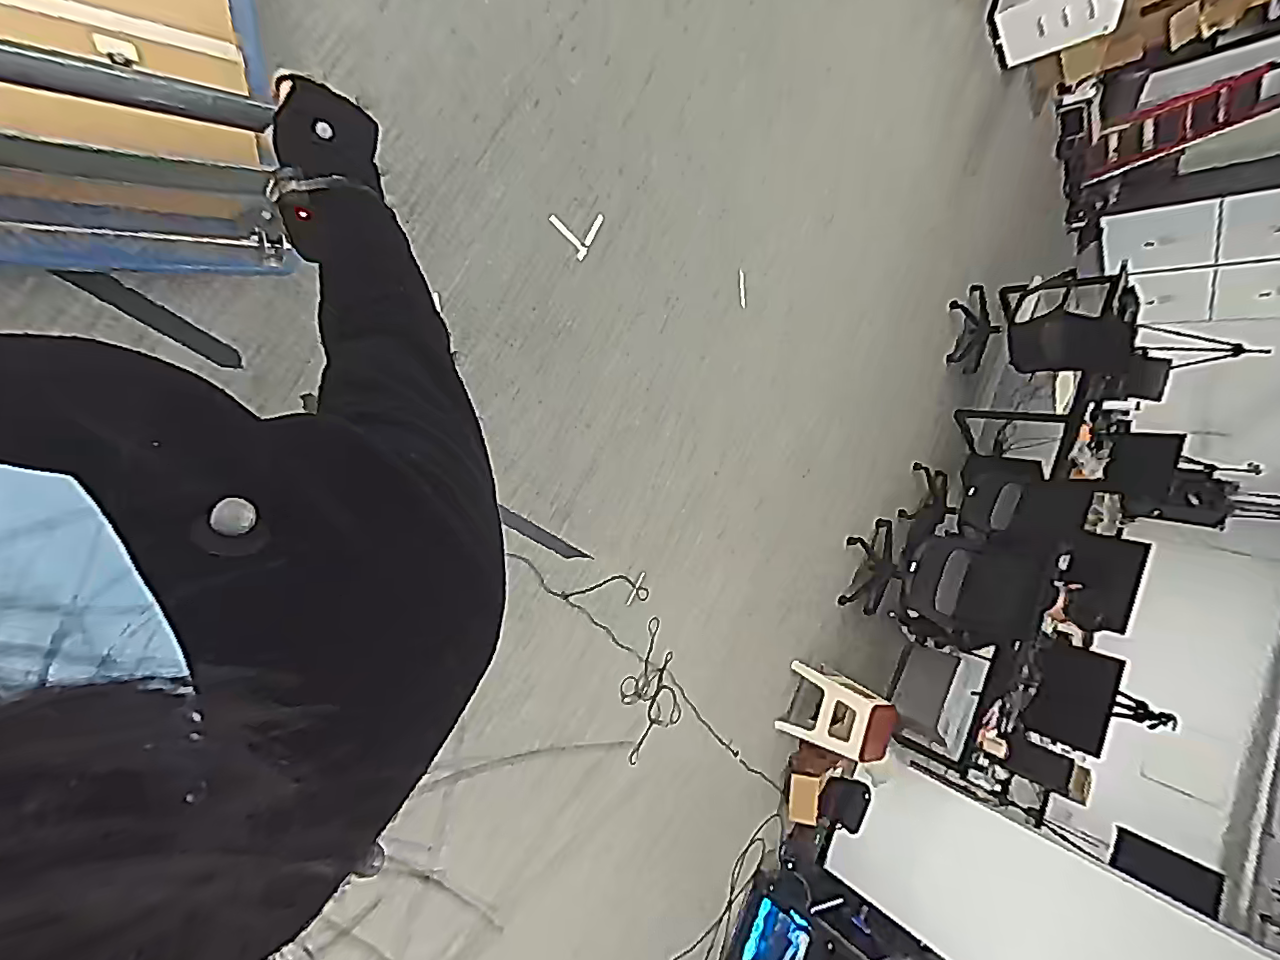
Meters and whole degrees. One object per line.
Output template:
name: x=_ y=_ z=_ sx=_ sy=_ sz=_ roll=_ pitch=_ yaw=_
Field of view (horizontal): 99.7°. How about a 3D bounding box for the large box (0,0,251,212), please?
large box: x=-0.836 y=-0.592 z=0.751 sx=0.408 sy=0.320 sz=0.320 roll=-14 pitch=109 yaw=-42
